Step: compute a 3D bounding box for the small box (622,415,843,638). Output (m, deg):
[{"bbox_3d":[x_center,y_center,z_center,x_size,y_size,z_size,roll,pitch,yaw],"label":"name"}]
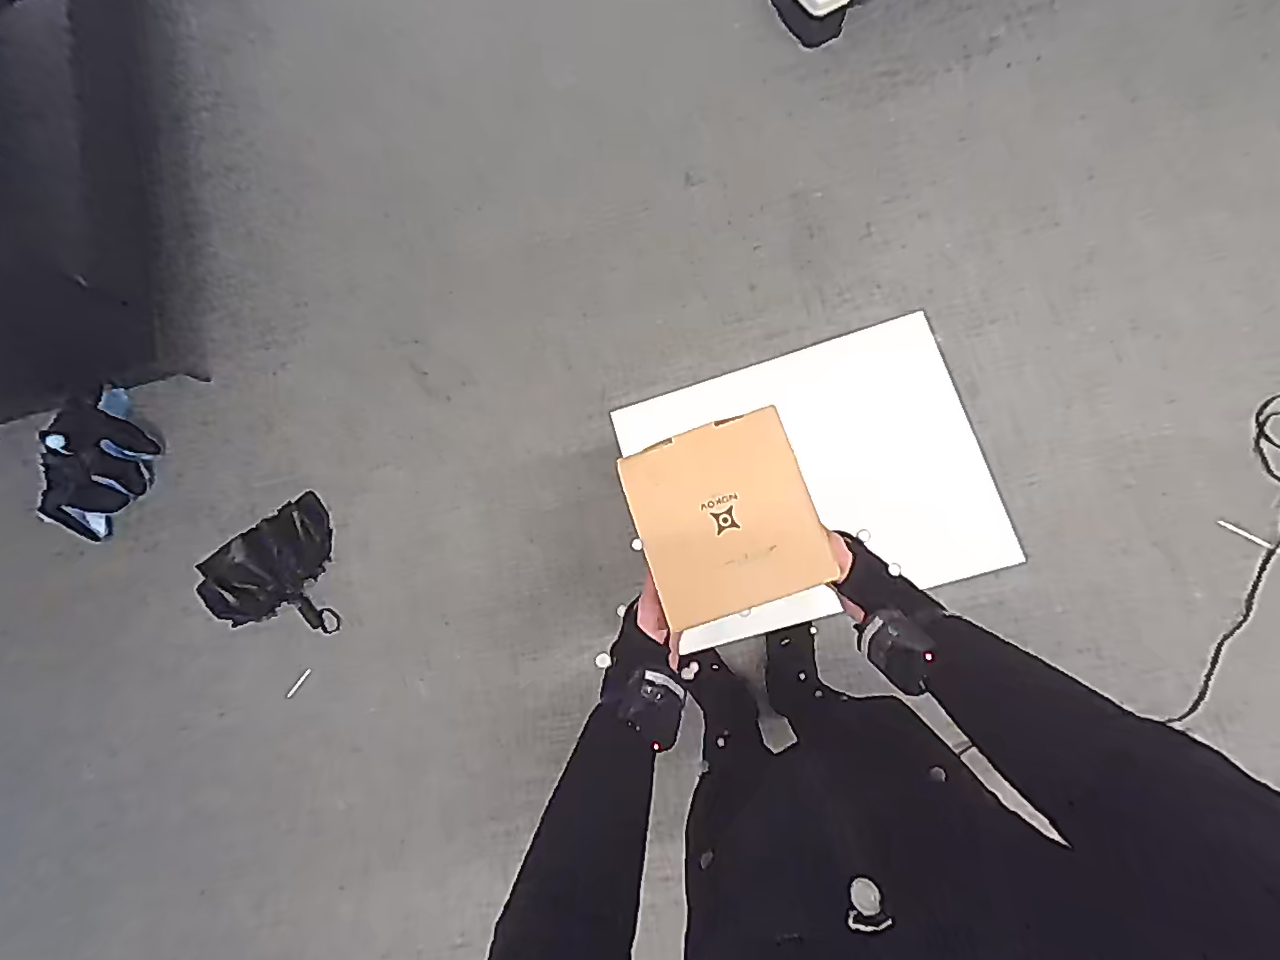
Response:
[{"bbox_3d":[0.095,0.055,0.585,0.168,0.176,0.179,-20,78,7],"label":"small box"}]
